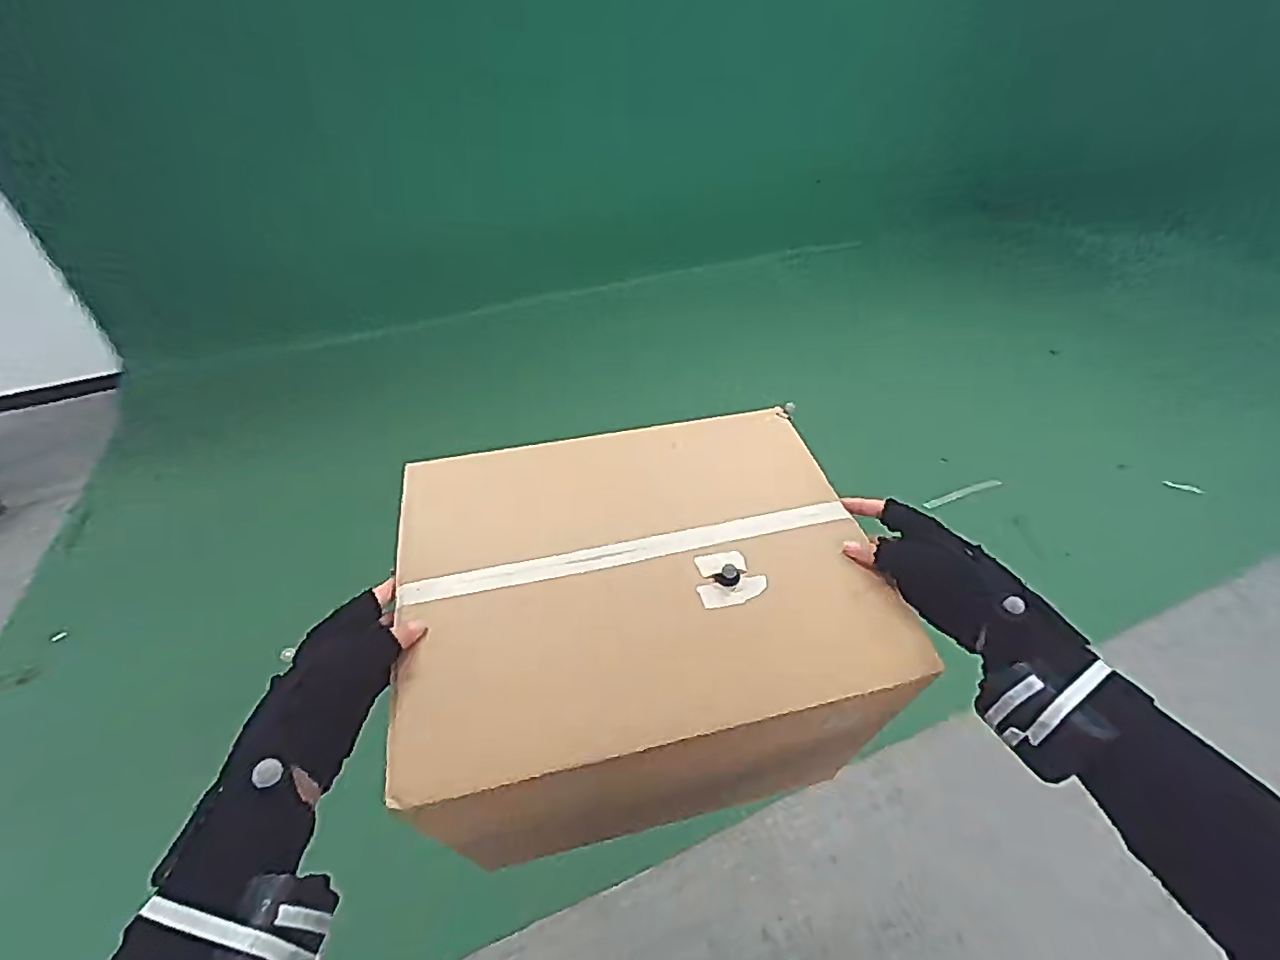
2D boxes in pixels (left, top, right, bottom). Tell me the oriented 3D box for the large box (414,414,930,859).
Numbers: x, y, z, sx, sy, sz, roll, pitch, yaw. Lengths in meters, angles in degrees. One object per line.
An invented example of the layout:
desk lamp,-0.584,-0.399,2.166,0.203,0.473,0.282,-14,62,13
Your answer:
large box,0.002,0.165,0.598,0.408,0.320,0.320,-9,49,-9
